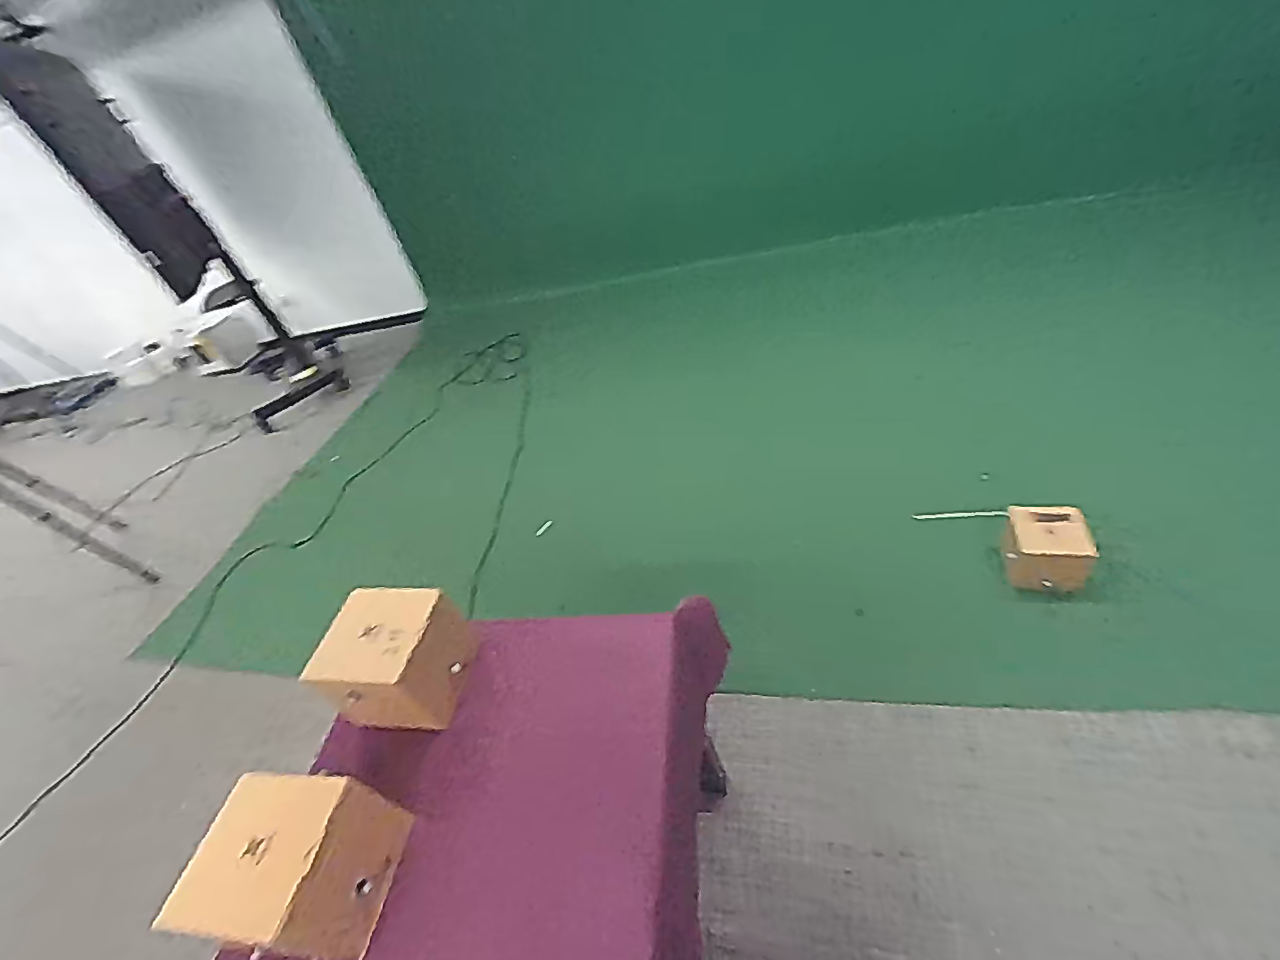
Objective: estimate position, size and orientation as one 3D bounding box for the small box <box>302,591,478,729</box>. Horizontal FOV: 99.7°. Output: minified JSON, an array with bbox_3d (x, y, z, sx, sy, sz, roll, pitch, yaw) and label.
[{"bbox_3d":[-0.409,0.304,0.915,0.179,0.176,0.168,-3,44,14],"label":"small box"}]

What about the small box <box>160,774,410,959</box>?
[{"bbox_3d":[-0.448,0.509,0.714,0.179,0.176,0.168,-6,43,14],"label":"small box"}]
